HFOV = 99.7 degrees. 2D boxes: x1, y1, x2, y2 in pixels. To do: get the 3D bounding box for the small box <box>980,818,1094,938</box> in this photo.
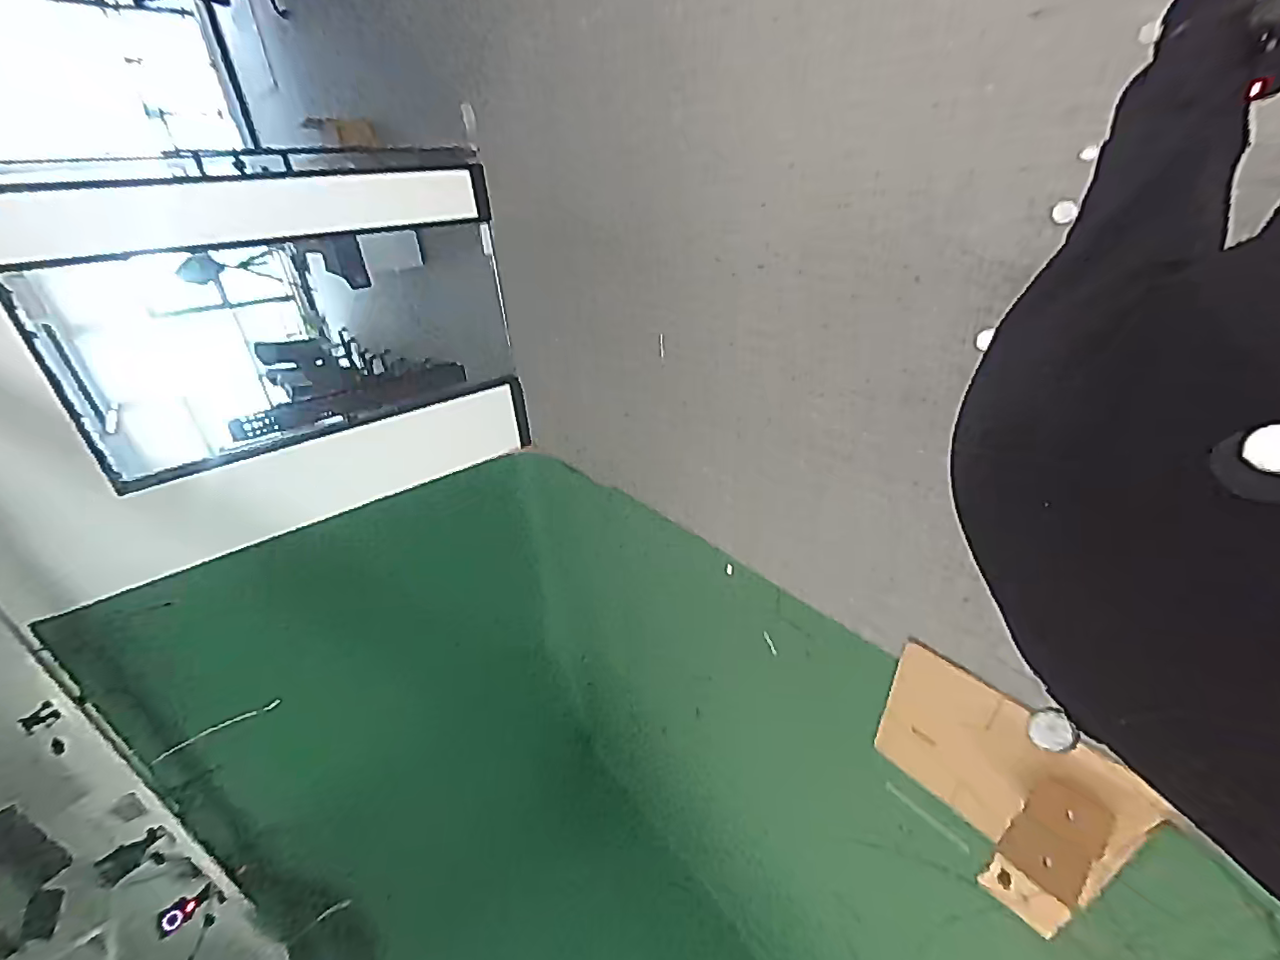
[{"bbox_3d":[1.058,1.050,1.445,0.179,0.176,0.168,32,135,39],"label":"small box"}]
